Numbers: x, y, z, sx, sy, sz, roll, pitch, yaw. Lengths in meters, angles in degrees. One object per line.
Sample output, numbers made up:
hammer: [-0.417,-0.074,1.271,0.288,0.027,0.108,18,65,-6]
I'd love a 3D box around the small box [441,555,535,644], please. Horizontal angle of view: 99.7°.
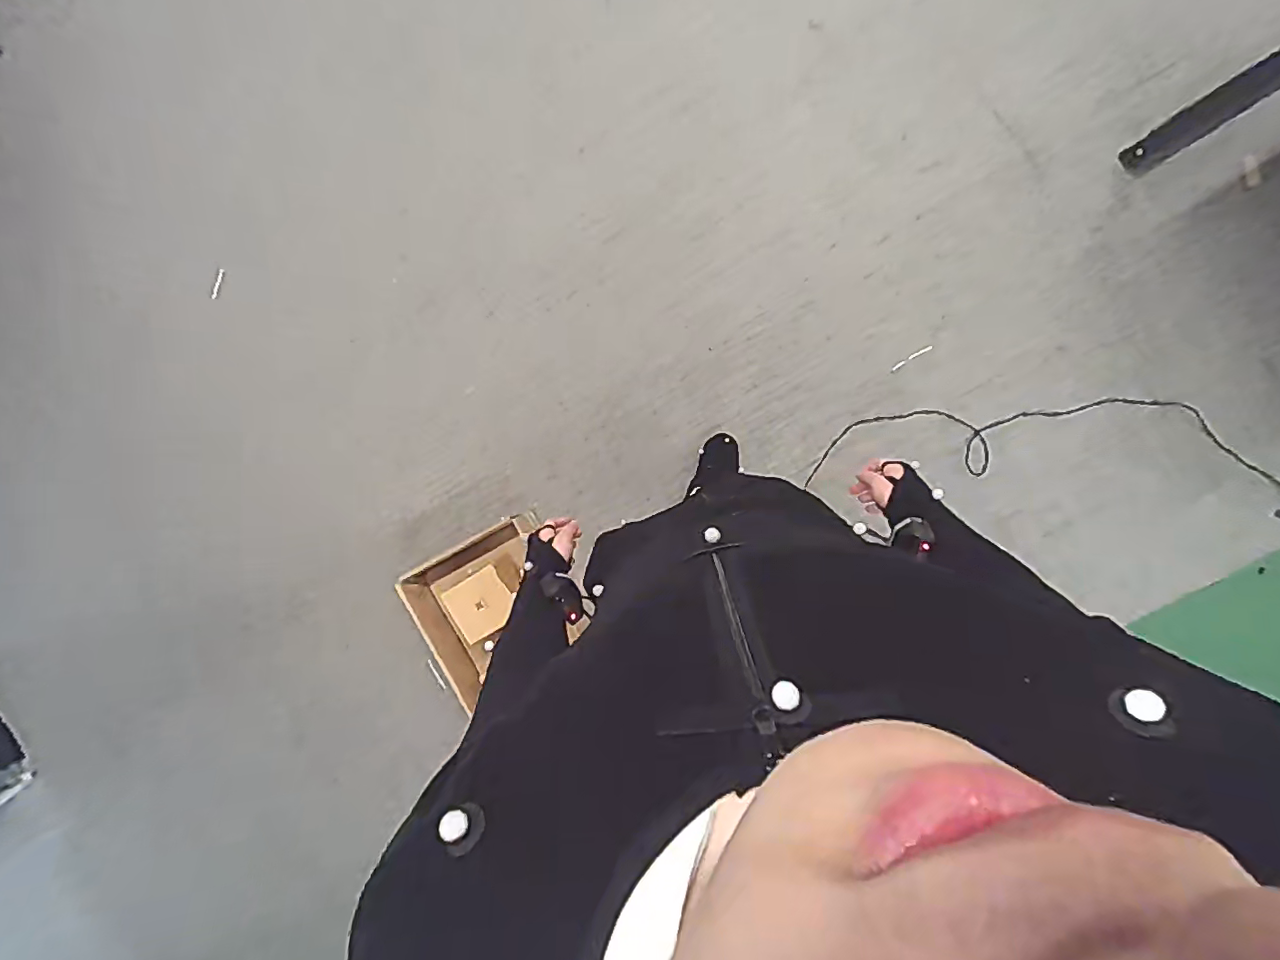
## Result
small box: [-0.431,0.338,1.560,0.179,0.176,0.168,-32,91,4]
